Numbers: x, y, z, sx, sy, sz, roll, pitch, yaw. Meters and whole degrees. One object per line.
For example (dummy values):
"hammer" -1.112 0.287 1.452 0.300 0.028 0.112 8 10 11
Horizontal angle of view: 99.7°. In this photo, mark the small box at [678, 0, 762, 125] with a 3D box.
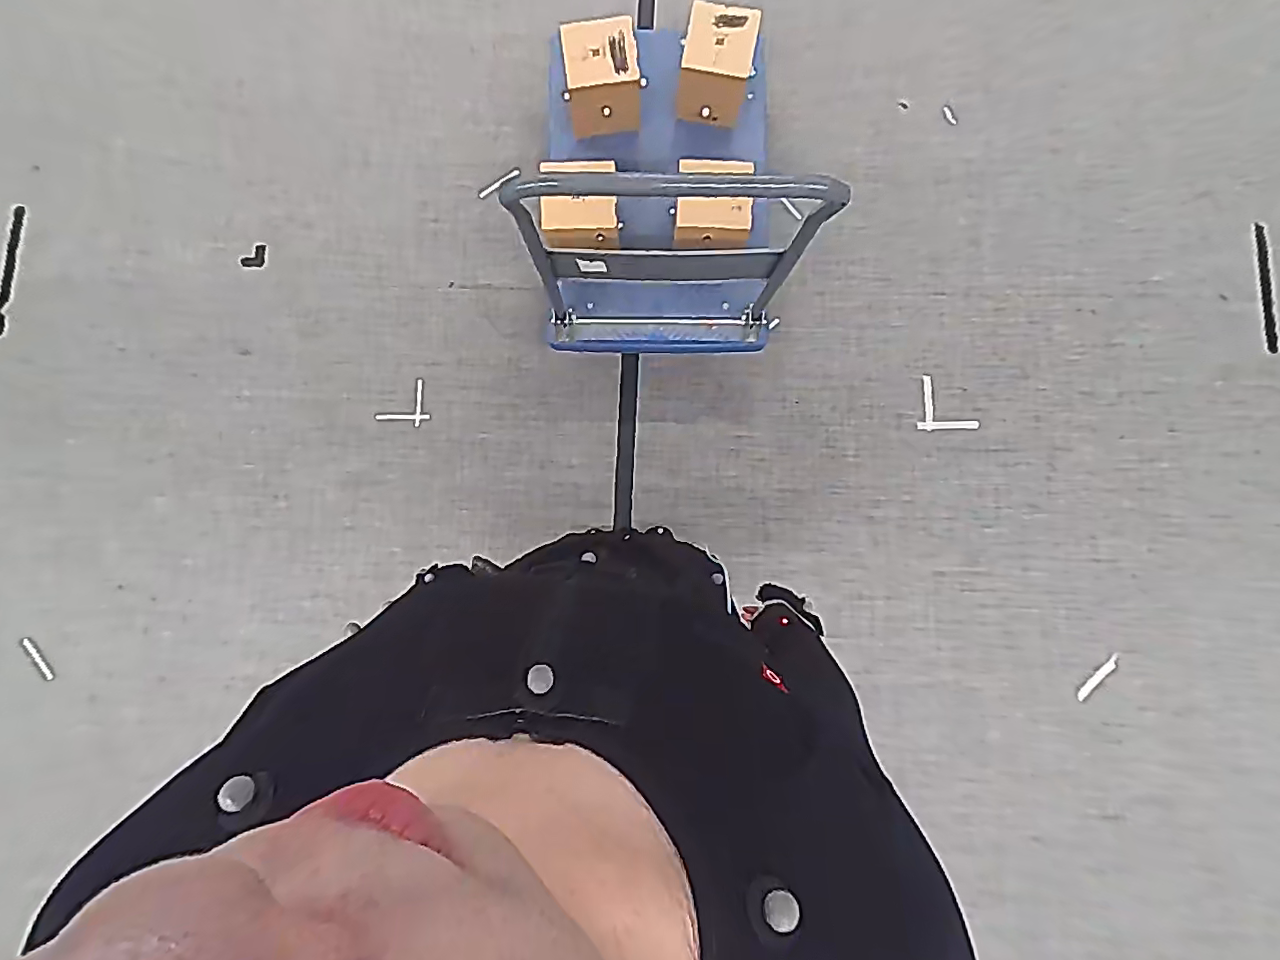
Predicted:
"small box" 0.192 -1.038 1.349 0.168 0.176 0.179 11 87 1

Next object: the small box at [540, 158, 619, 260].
"small box" -0.142 -0.654 1.322 0.179 0.176 0.168 -2 86 -1

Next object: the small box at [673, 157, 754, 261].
"small box" 0.174 -0.654 1.320 0.179 0.176 0.168 3 86 1
